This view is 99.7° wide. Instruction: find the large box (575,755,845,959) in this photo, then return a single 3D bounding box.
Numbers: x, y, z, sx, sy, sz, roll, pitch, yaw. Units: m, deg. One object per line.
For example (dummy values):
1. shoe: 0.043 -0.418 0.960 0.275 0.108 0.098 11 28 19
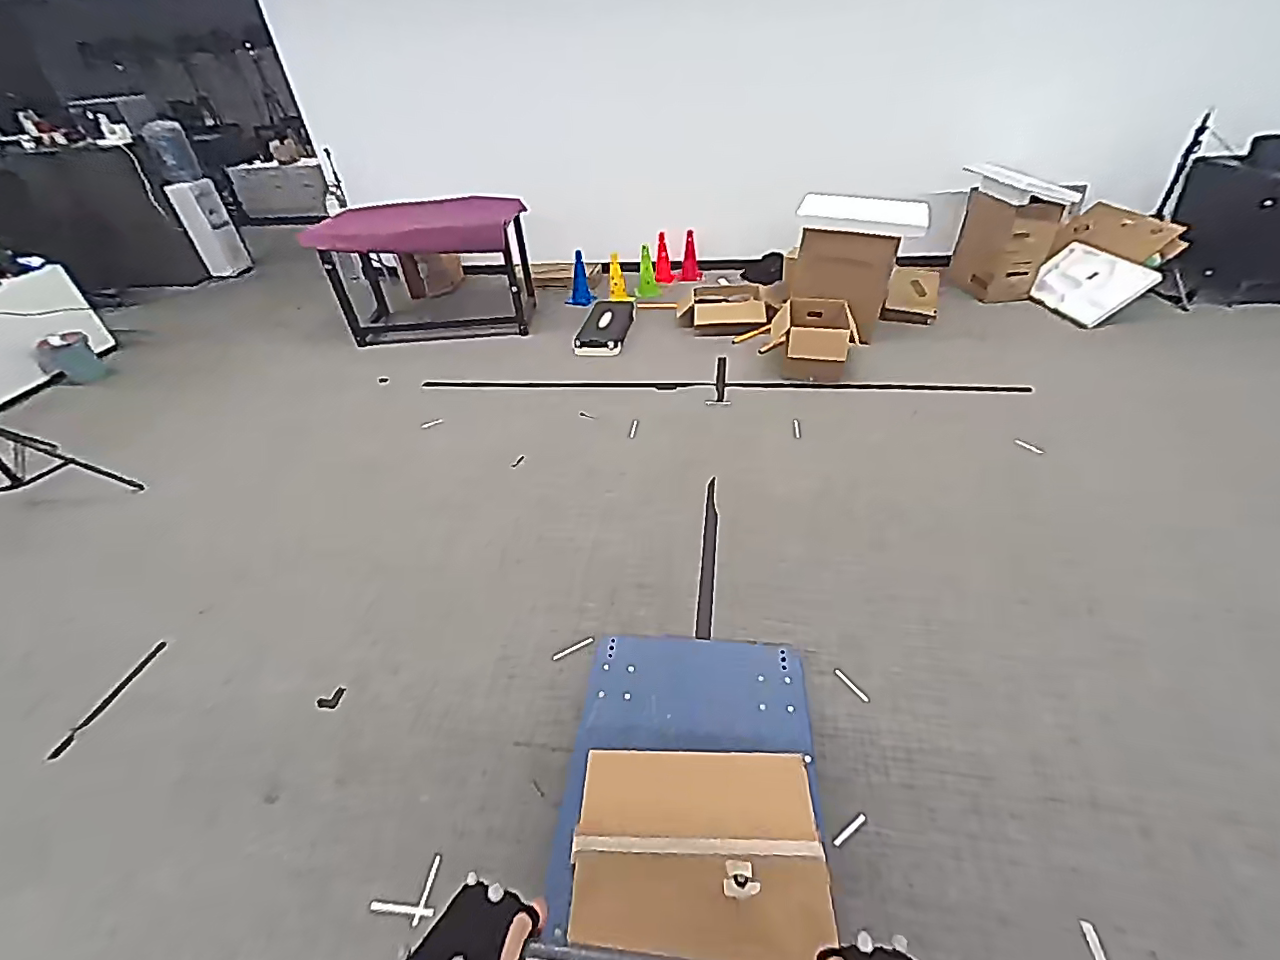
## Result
1. large box: 0.109 0.734 0.993 0.408 0.320 0.320 -1 39 3
